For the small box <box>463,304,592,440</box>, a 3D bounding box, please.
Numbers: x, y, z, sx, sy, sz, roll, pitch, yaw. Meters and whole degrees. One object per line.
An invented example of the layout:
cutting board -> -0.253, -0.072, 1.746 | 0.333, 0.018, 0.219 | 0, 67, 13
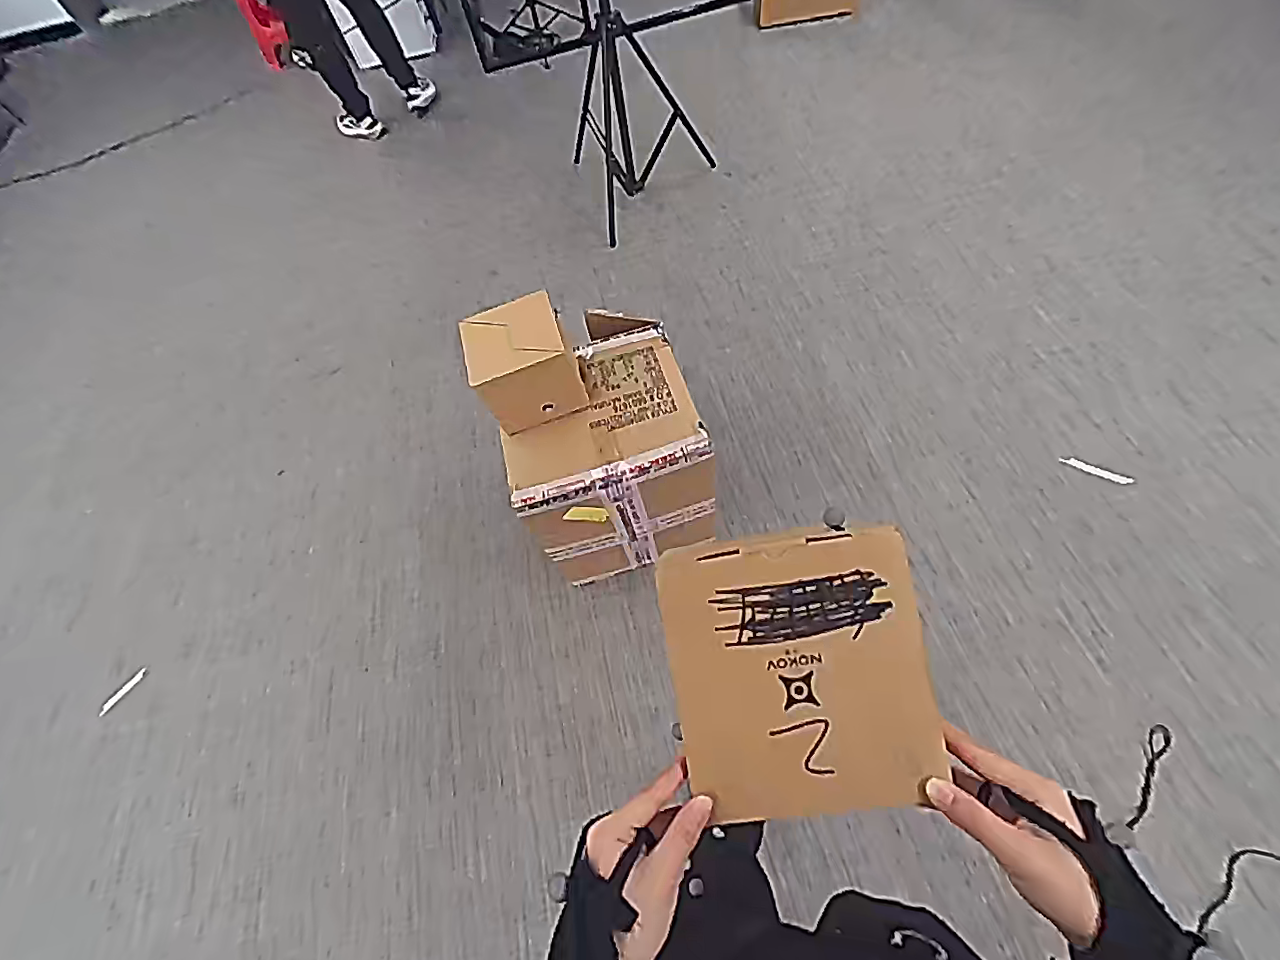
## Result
small box -> -0.214, -0.209, 1.041 | 0.179, 0.176, 0.168 | -20, 61, 1
